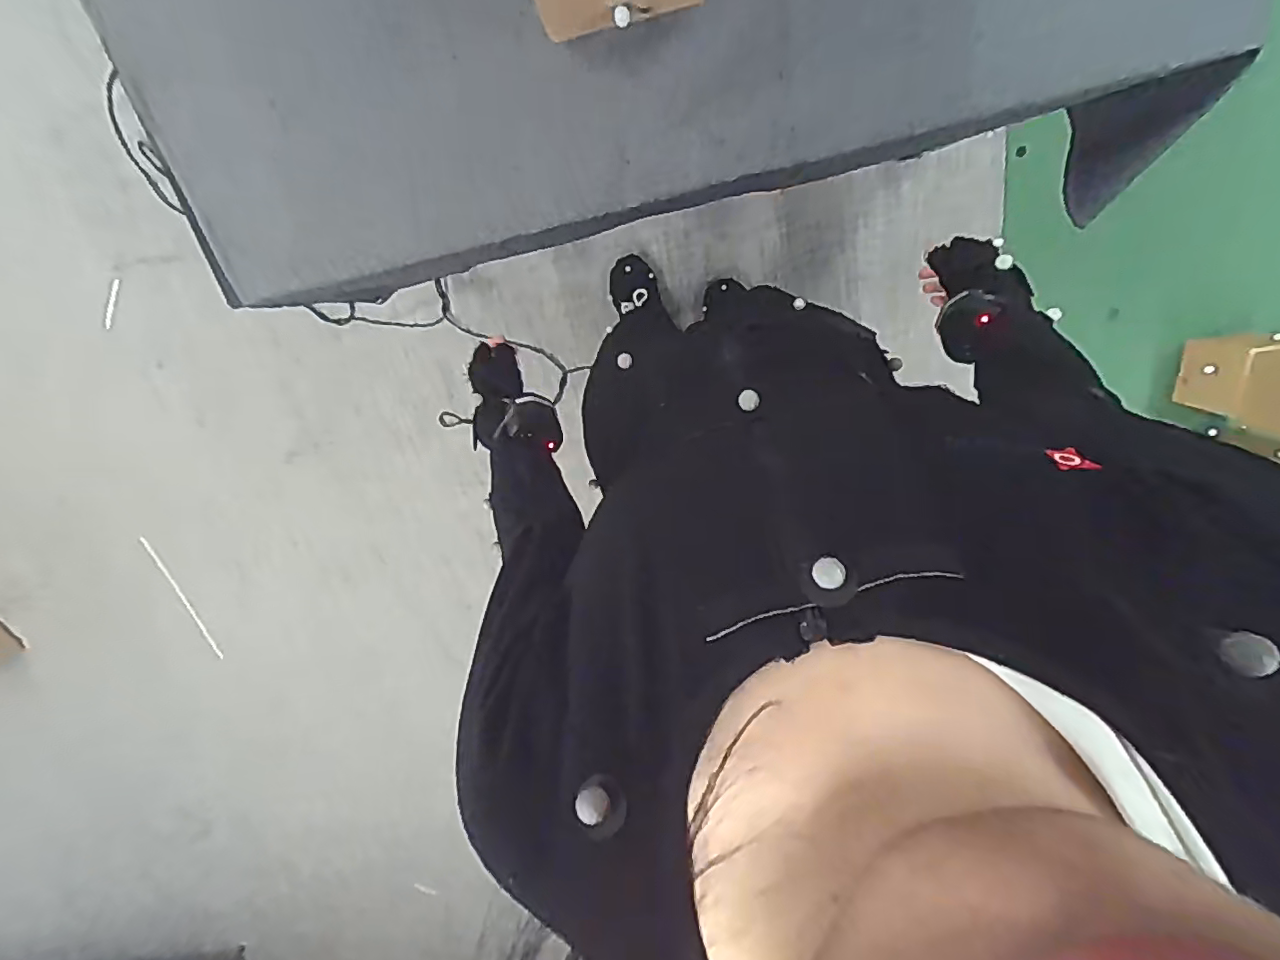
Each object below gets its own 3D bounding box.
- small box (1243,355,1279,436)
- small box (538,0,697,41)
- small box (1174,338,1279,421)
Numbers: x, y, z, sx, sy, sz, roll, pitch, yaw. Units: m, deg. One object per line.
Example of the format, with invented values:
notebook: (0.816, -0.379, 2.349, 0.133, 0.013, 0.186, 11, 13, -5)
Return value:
small box: (1.500, -0.185, 1.183, 0.168, 0.176, 0.179, -8, 111, 4)
small box: (-0.033, -0.530, 0.465, 0.168, 0.176, 0.179, -11, 111, 5)
small box: (1.490, -0.251, 1.335, 0.179, 0.176, 0.168, -7, 111, 3)
